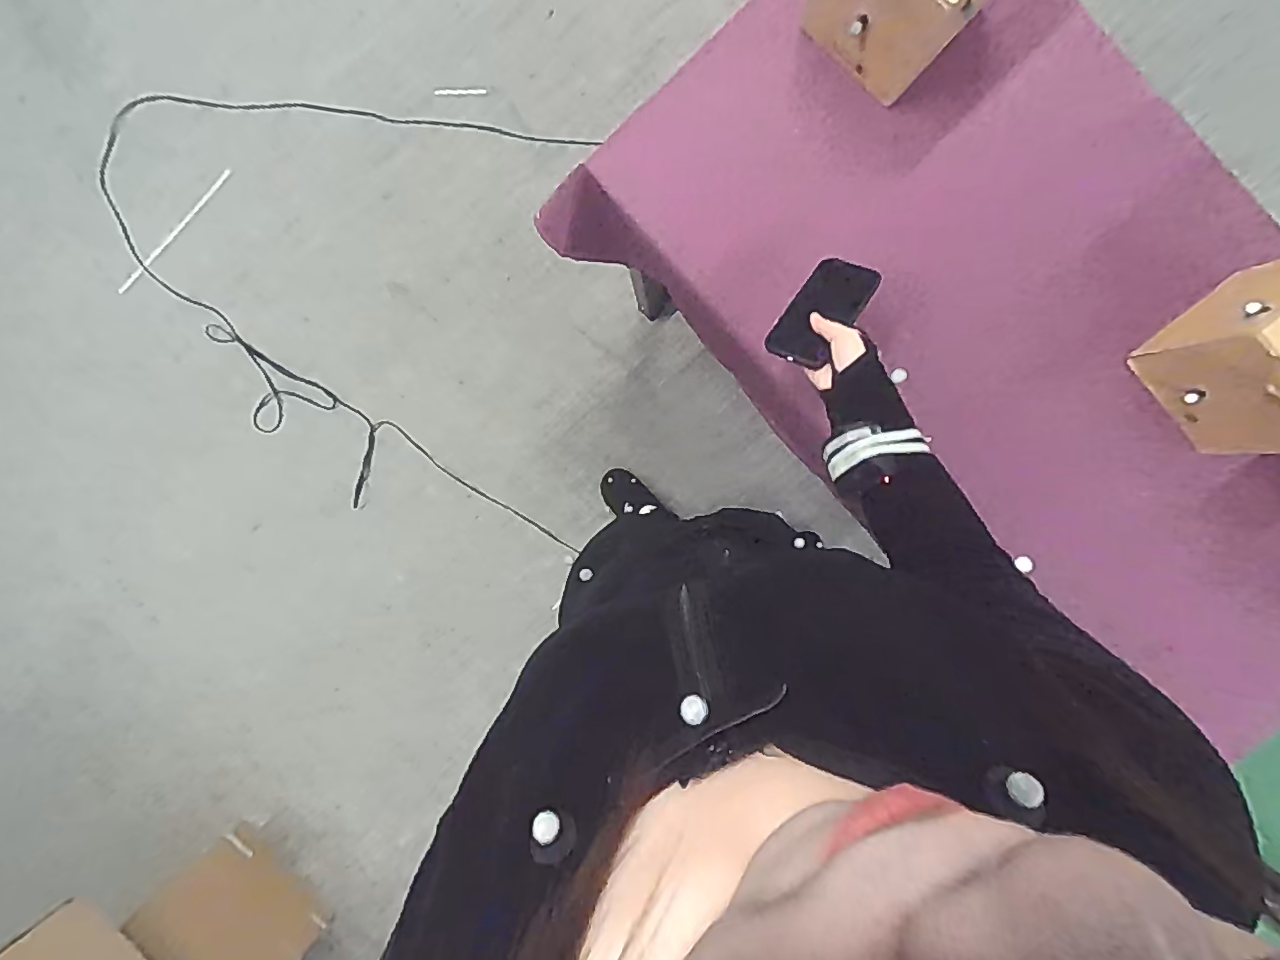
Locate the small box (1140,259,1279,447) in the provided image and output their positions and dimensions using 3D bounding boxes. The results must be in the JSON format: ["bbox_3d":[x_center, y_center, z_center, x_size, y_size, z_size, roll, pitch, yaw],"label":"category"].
[{"bbox_3d":[0.758,-0.154,0.622,0.179,0.176,0.168,-40,90,6],"label":"small box"}]

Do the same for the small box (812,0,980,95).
[{"bbox_3d":[0.321,-0.607,0.624,0.168,0.176,0.179,43,96,0],"label":"small box"}]
